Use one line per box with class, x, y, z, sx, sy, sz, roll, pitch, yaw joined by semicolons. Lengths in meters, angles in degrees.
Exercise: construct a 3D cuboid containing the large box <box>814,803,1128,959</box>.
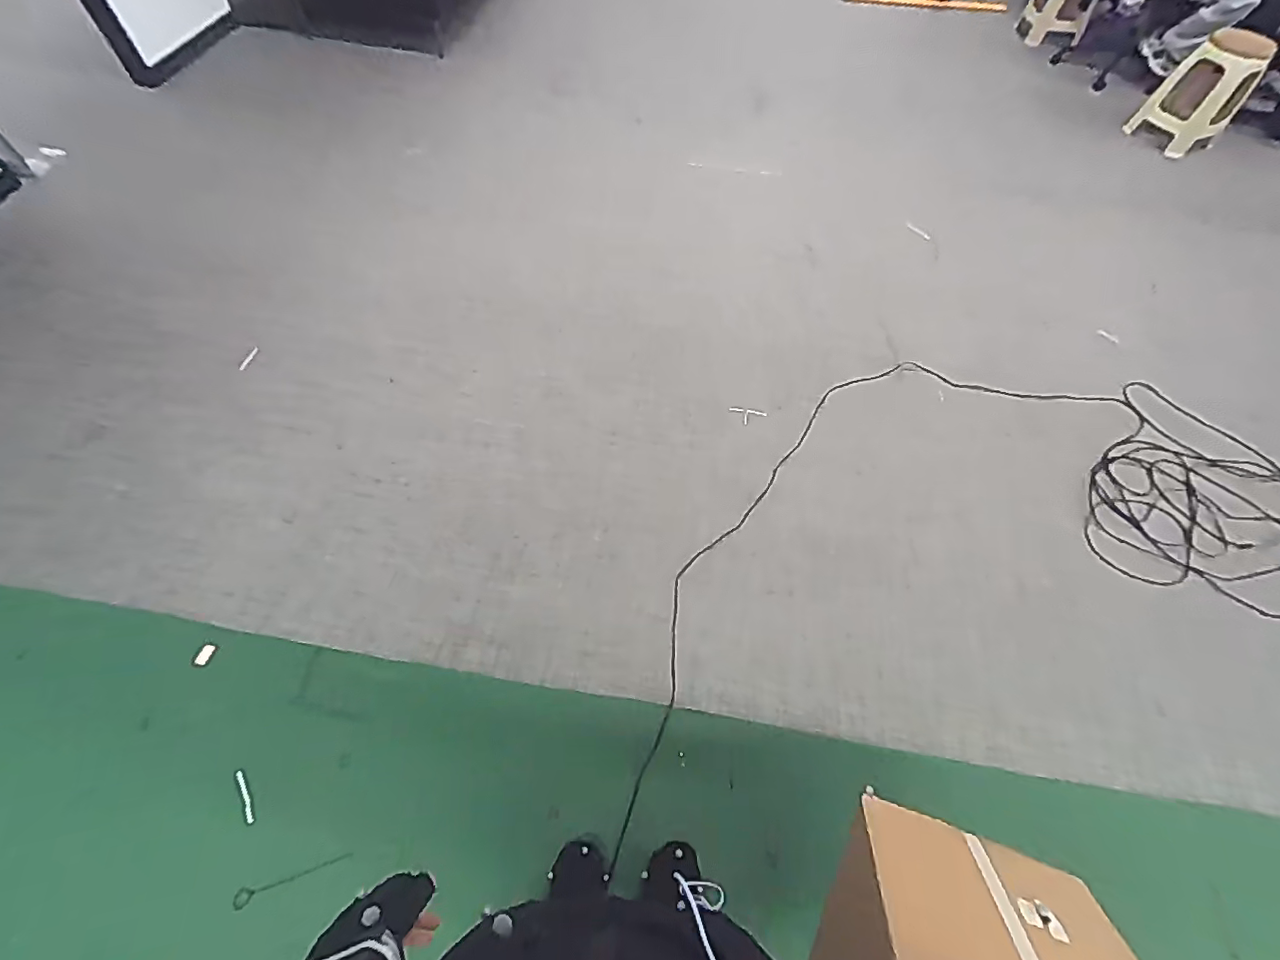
large box;0.402;0.696;0.638;0.320;0.408;0.320;17;95;14
